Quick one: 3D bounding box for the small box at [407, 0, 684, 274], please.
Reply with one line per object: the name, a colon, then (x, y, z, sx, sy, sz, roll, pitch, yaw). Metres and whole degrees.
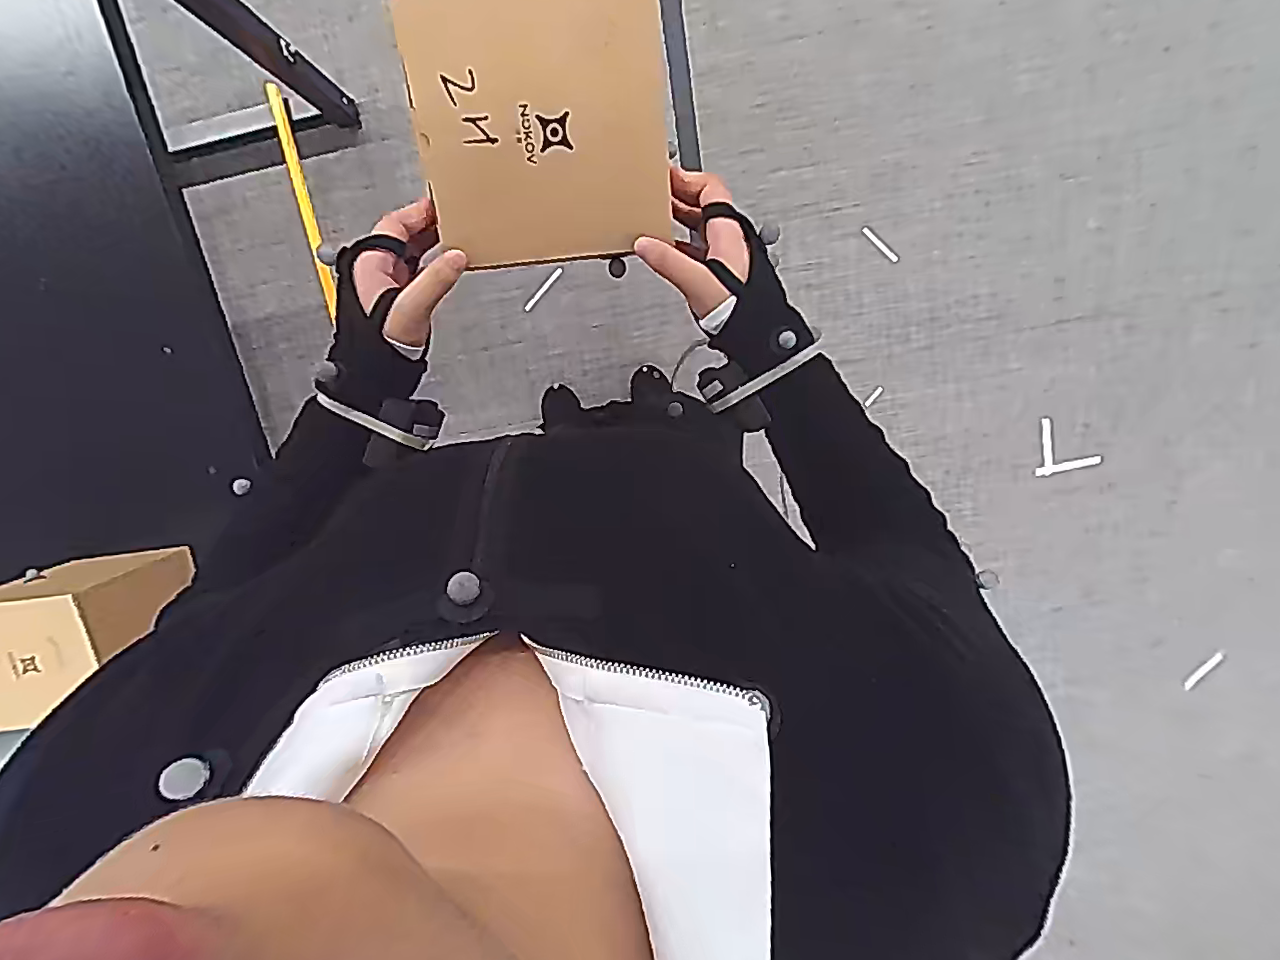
small box: (-0.063, -0.268, 0.451, 0.179, 0.176, 0.168, -5, 112, 0)

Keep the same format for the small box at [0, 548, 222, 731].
small box: (-0.719, 0.201, 0.719, 0.179, 0.176, 0.168, -8, 103, 2)
